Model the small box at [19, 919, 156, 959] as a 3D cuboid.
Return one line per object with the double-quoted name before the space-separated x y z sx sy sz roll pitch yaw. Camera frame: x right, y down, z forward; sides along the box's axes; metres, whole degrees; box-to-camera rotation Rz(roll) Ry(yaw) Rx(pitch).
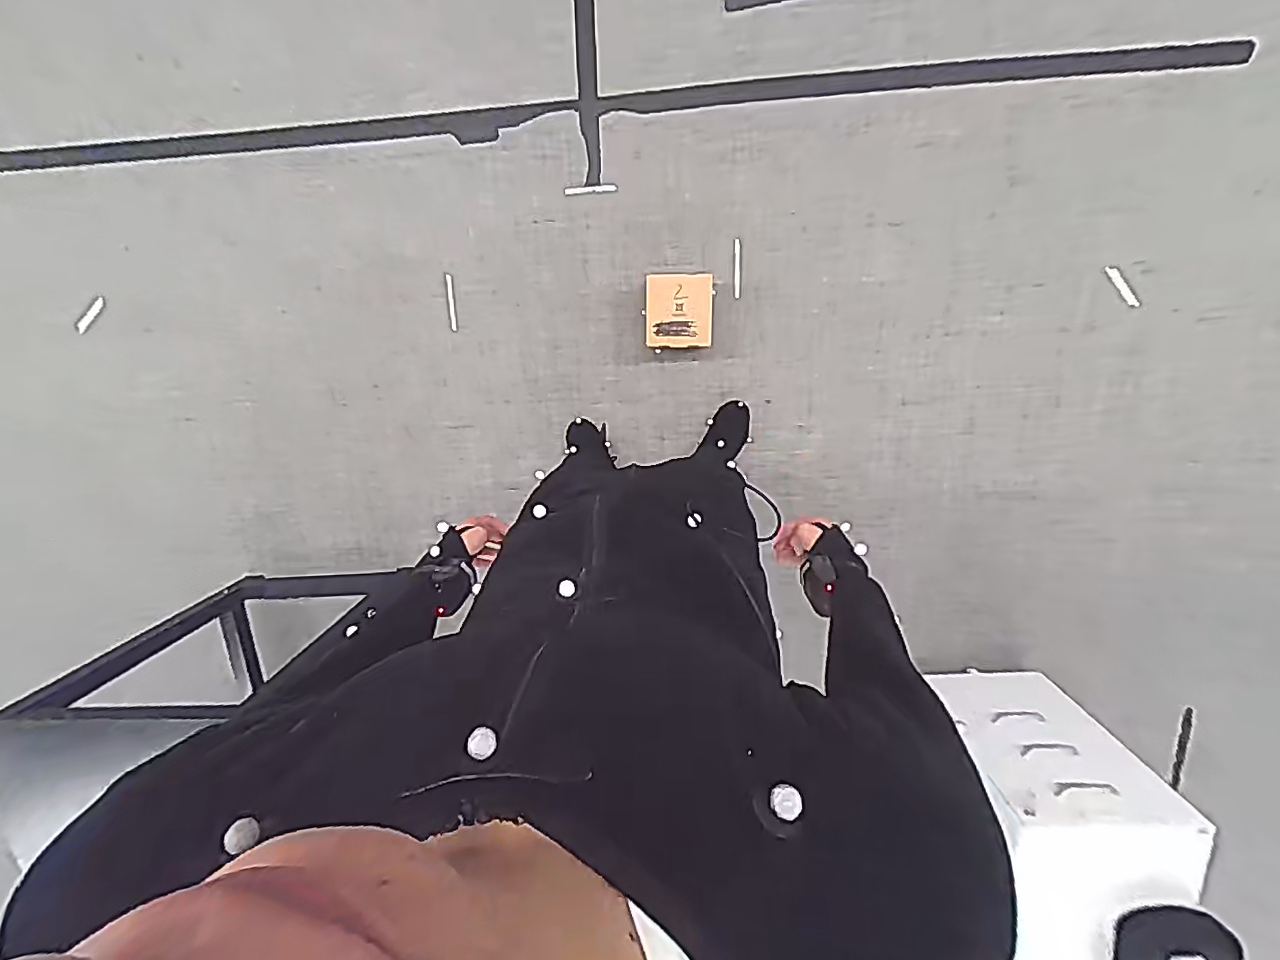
"small box" -0.933 0.866 0.882 0.168 0.176 0.179 -6 103 4
